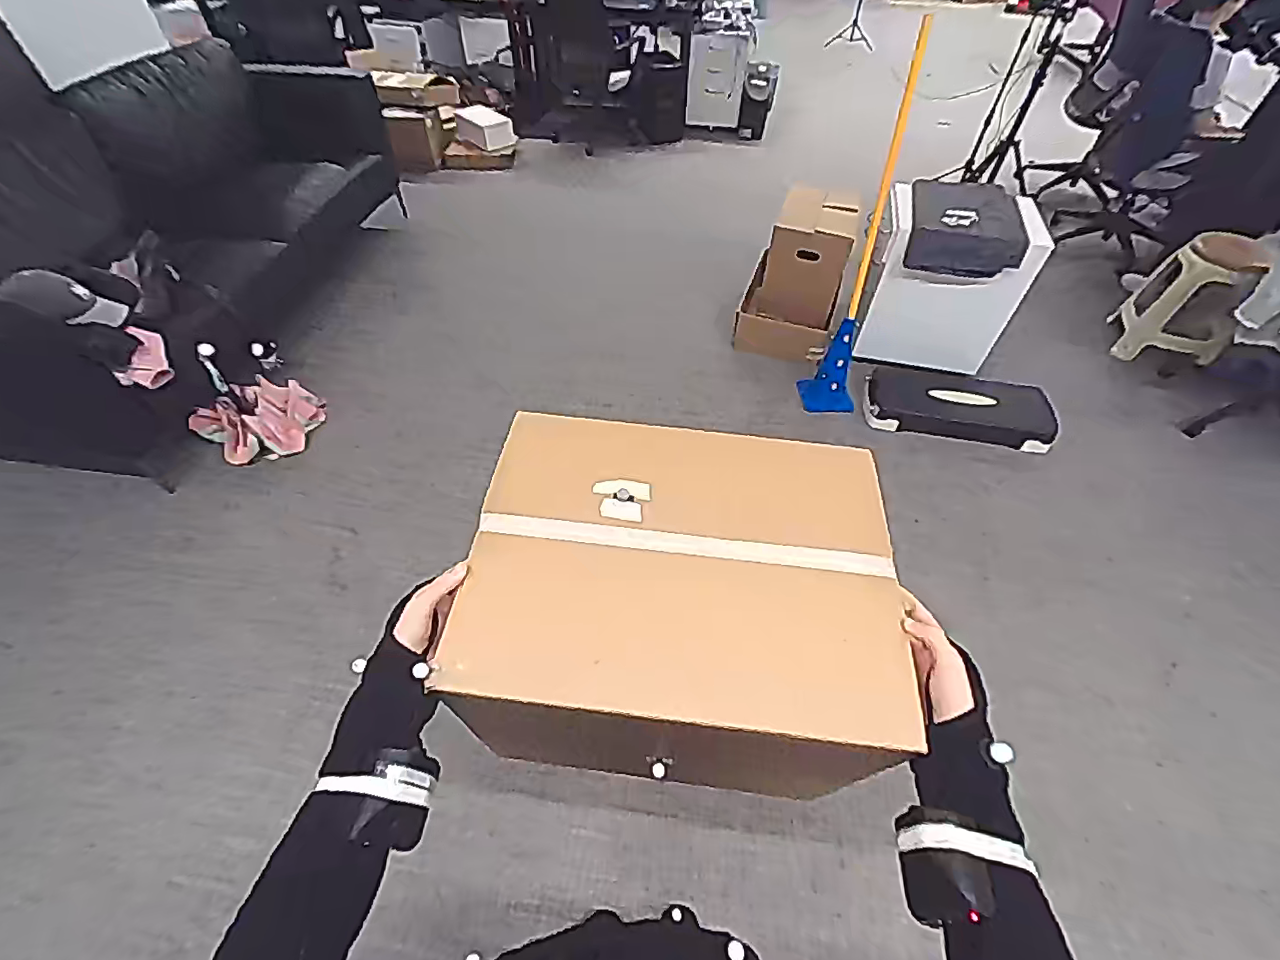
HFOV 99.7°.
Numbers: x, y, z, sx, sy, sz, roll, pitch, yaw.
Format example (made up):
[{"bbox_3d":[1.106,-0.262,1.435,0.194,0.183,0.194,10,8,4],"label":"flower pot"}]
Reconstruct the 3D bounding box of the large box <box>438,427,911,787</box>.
[{"bbox_3d":[0.039,0.164,0.655,0.408,0.320,0.320,6,53,3],"label":"large box"}]
